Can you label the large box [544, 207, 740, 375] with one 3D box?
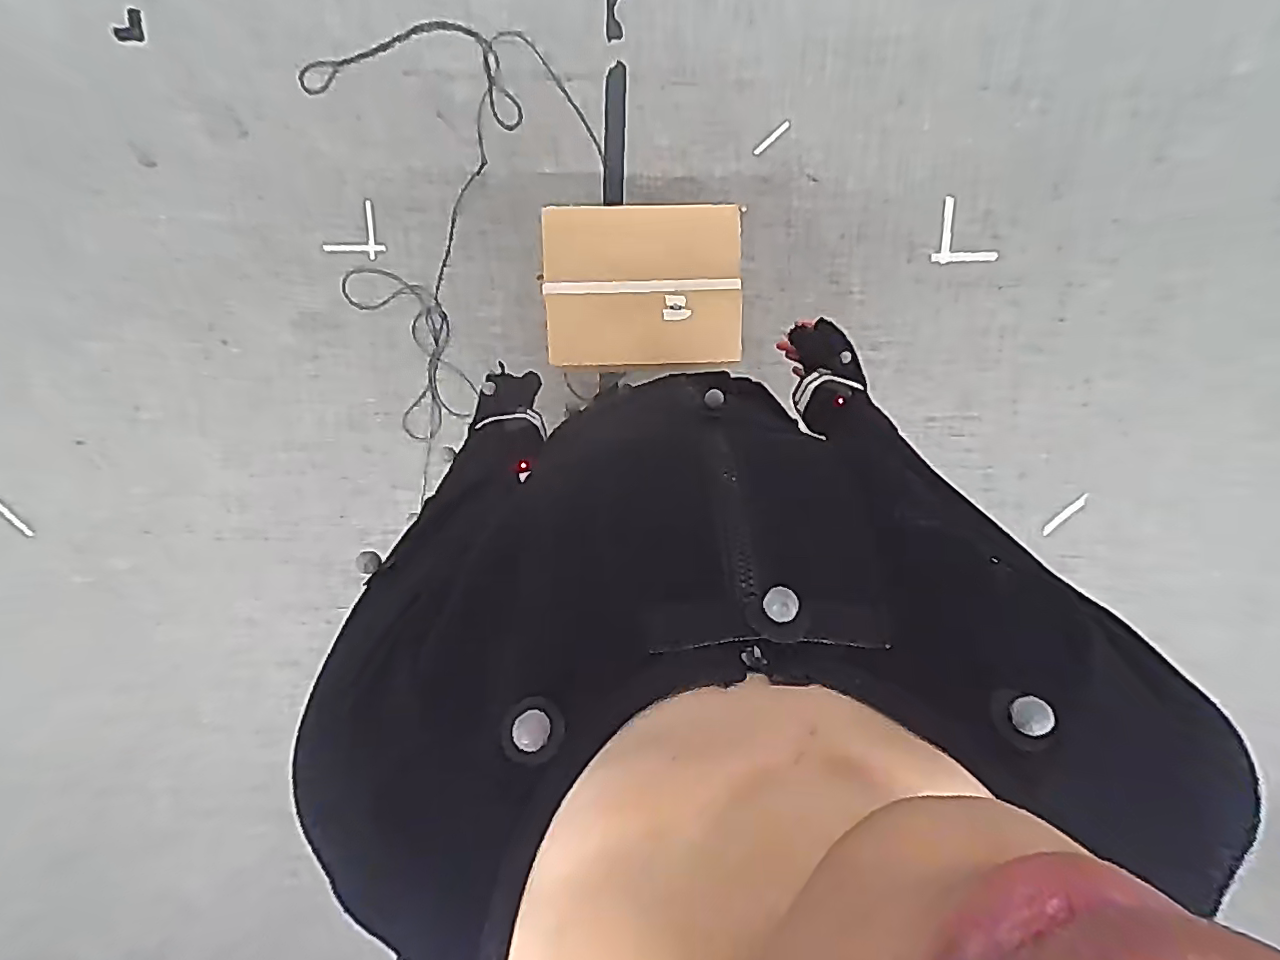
[{"bbox_3d":[0.001,-0.420,1.268,0.408,0.320,0.320,-2,99,-2],"label":"large box"}]
